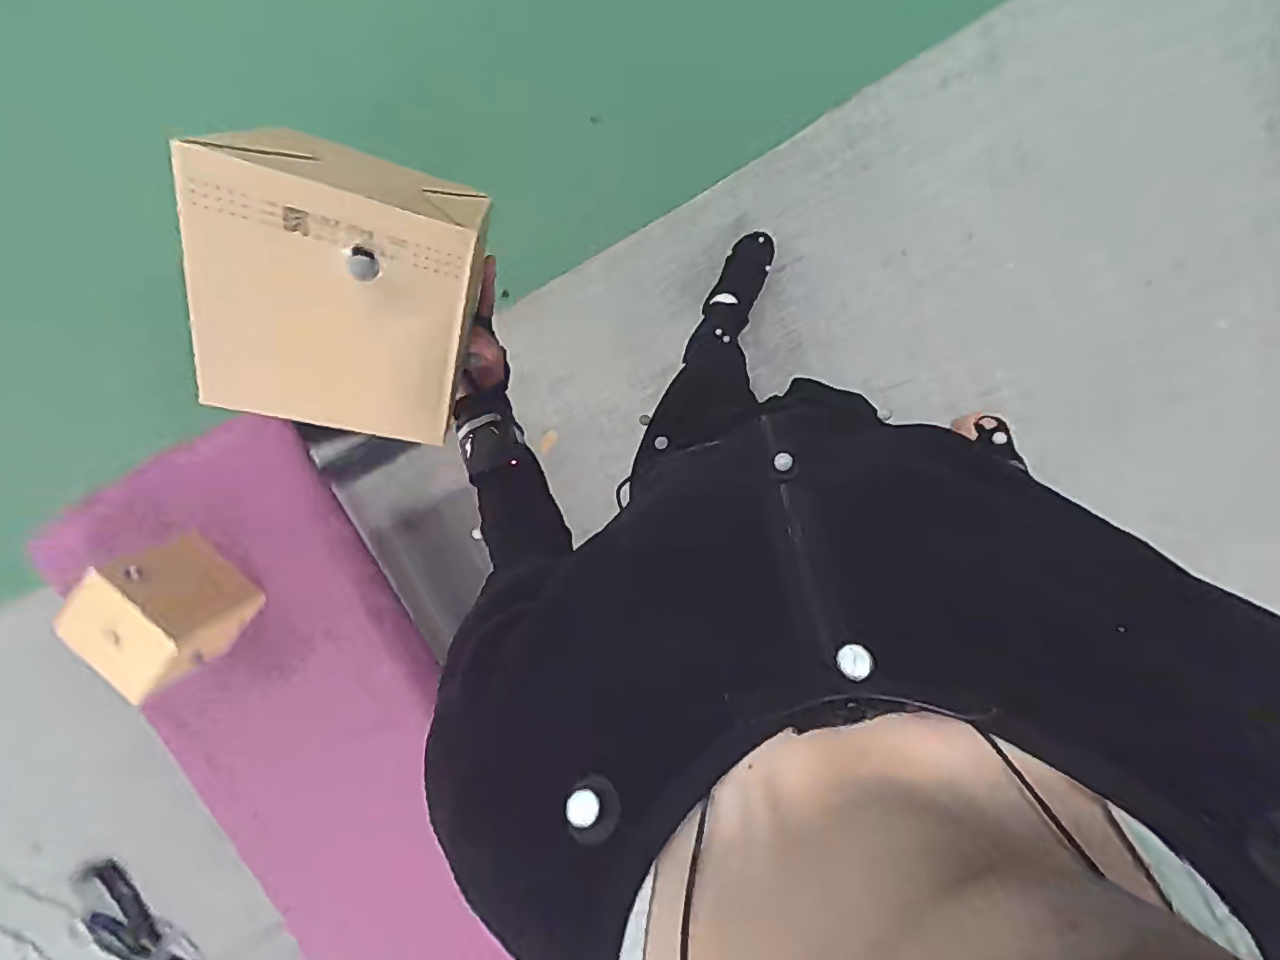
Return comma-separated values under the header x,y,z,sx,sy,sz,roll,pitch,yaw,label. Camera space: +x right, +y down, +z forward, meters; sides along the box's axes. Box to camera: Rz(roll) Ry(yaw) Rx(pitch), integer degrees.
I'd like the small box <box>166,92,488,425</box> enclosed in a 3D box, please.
x,y,z,sx,sy,sz,roll,pitch,yaw,label
-0.216,-0.170,0.412,0.168,0.179,0.176,11,122,-19,small box

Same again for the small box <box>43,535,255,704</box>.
x,y,z,sx,sy,sz,roll,pitch,yaw,label
-0.795,0.219,0.894,0.179,0.176,0.168,44,108,-3,small box
